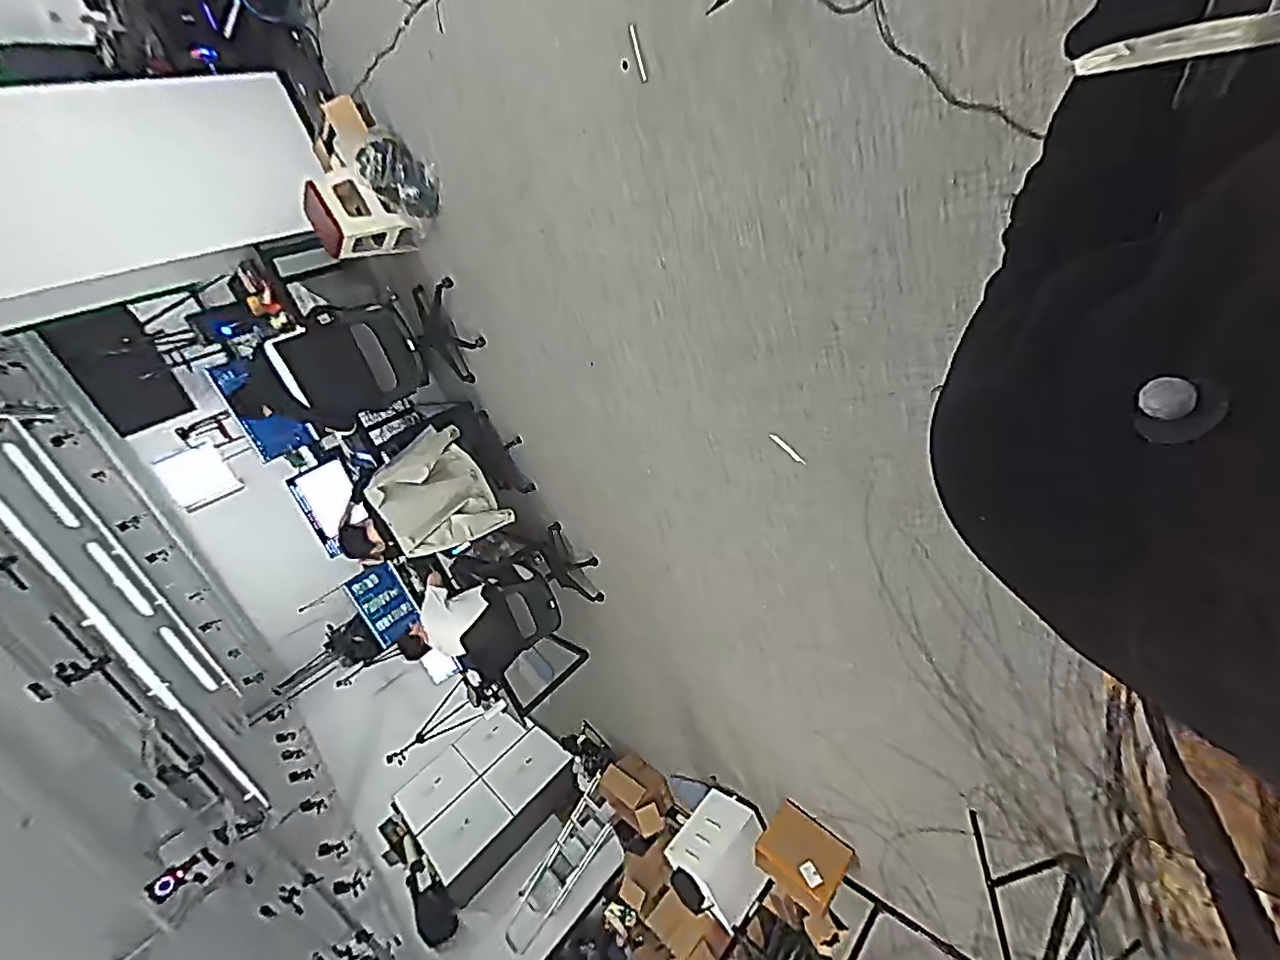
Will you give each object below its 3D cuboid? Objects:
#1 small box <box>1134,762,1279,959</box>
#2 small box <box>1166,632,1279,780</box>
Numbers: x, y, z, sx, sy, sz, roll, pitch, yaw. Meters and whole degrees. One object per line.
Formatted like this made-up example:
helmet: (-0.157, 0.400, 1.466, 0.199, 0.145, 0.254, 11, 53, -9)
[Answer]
small box: (0.896, 0.573, 0.826, 0.179, 0.176, 0.168, 12, 128, 46)
small box: (1.118, 0.412, 1.008, 0.179, 0.176, 0.168, 8, 124, 49)
